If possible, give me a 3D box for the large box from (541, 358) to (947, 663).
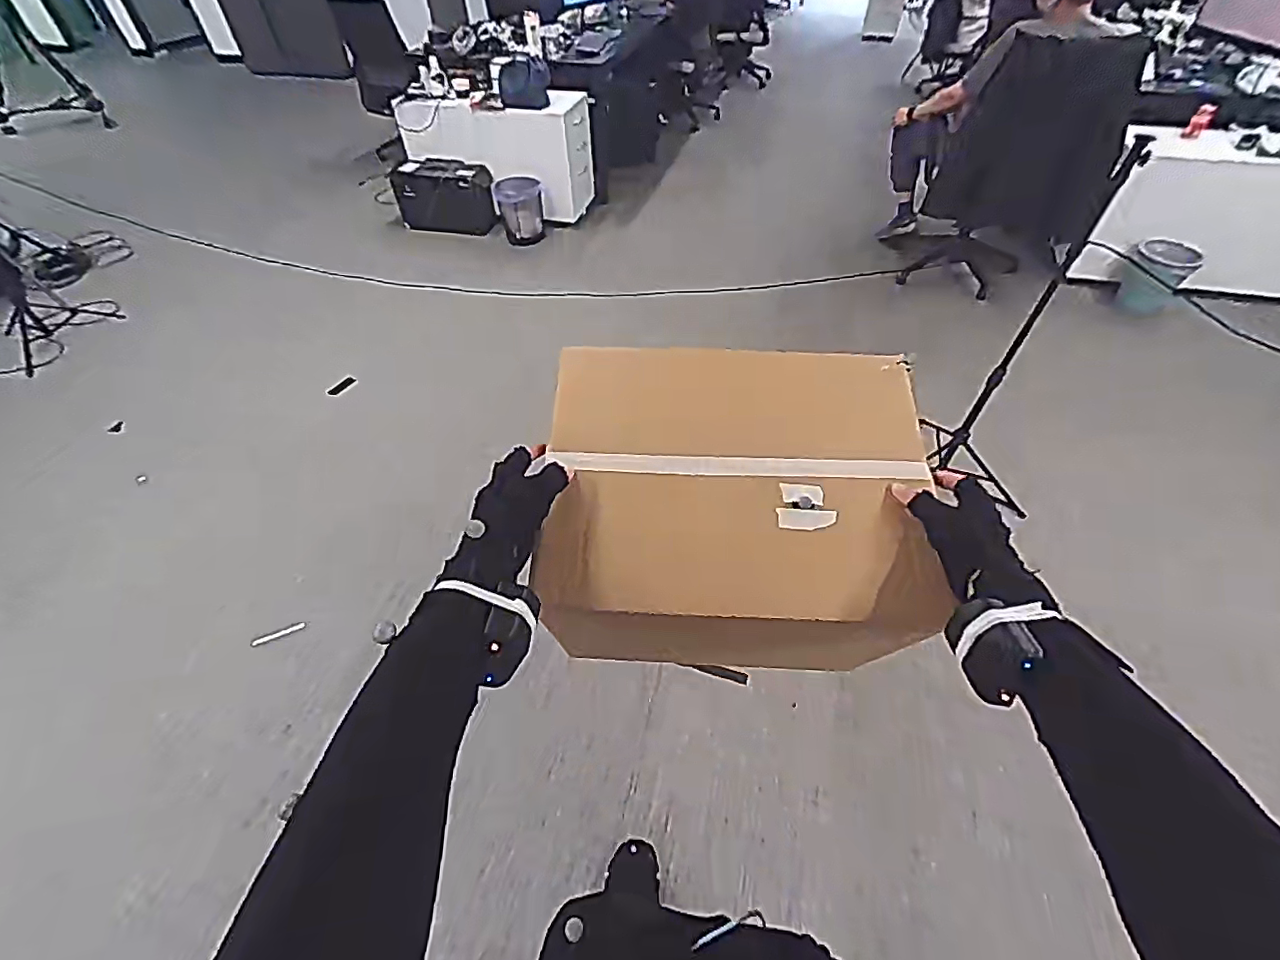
[{"bbox_3d":[0.104,0.058,0.722,0.408,0.320,0.320,2,64,2],"label":"large box"}]
